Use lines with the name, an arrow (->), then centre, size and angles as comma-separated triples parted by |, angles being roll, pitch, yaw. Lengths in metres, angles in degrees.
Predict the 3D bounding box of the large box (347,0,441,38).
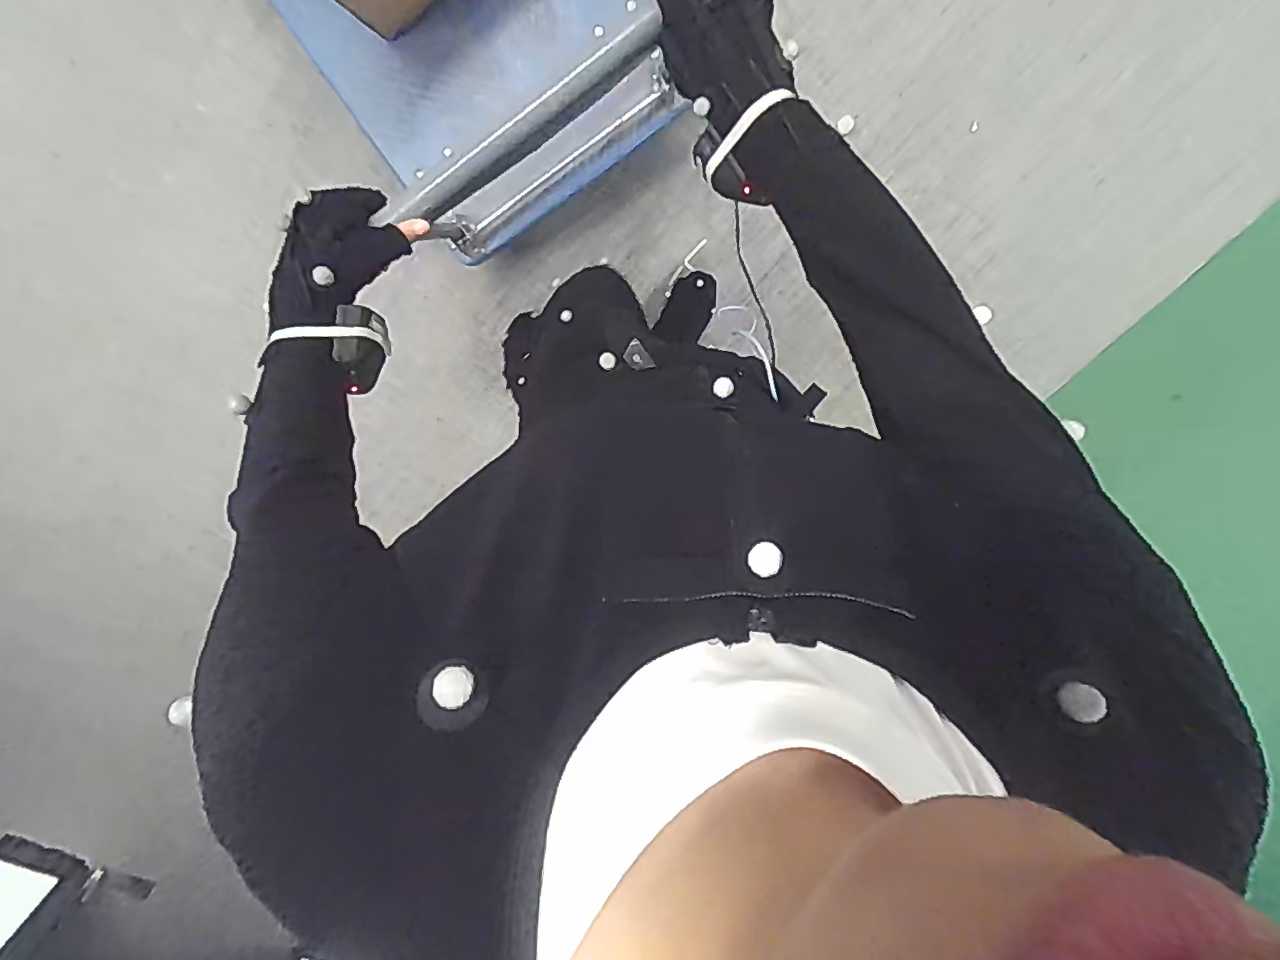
large box -> -0.356, -0.946, 0.747 | 0.408, 0.320, 0.320 | -32, 111, 13
